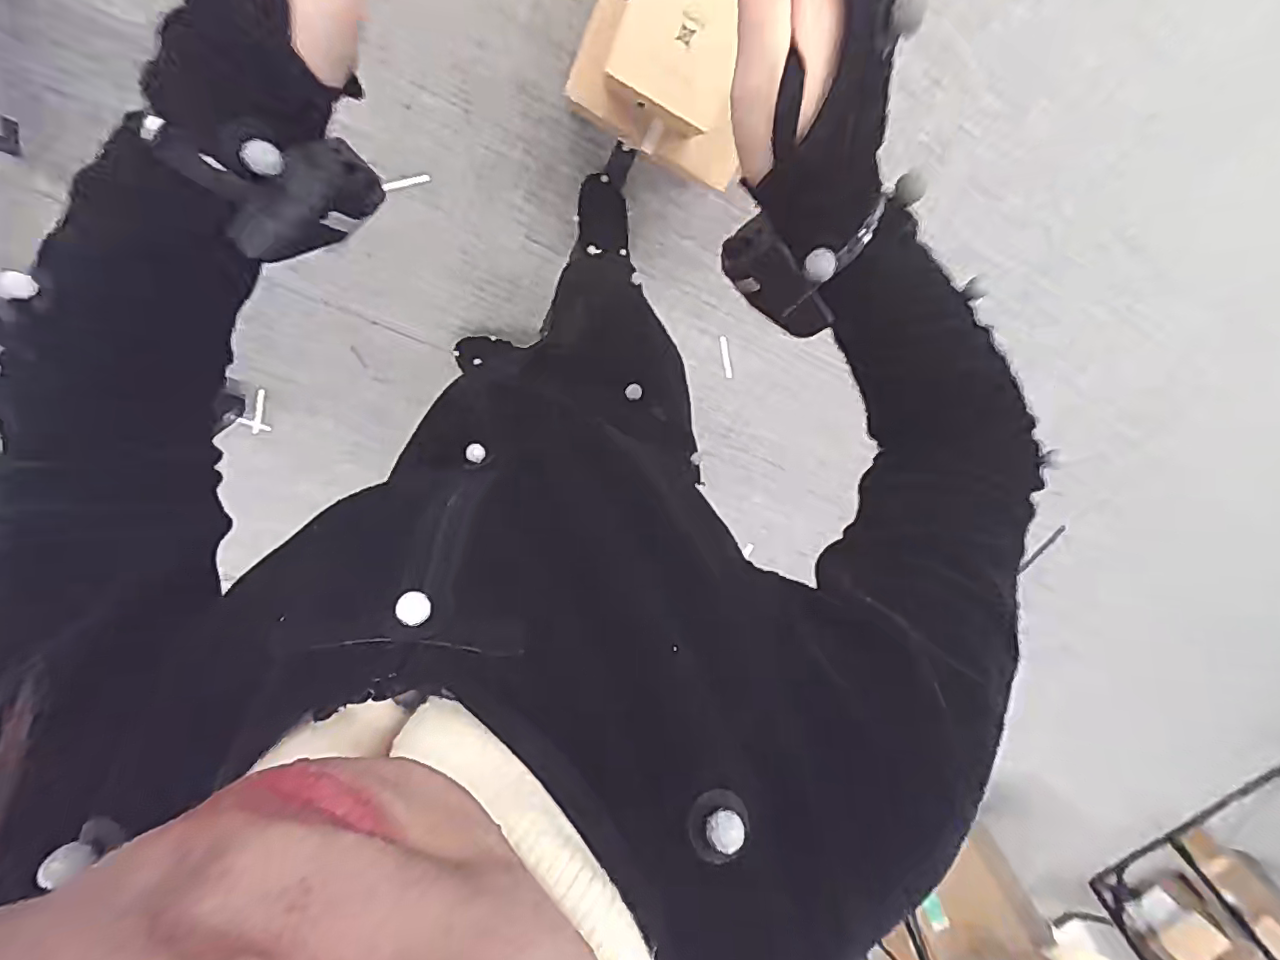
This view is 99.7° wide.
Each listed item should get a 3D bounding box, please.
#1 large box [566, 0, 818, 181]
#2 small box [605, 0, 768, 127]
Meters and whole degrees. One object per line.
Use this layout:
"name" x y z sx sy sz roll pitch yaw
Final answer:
"large box" 0.088 -0.807 0.953 0.320 0.320 0.408 22 116 -19
"small box" 0.057 -0.635 0.766 0.168 0.176 0.179 22 117 -16
